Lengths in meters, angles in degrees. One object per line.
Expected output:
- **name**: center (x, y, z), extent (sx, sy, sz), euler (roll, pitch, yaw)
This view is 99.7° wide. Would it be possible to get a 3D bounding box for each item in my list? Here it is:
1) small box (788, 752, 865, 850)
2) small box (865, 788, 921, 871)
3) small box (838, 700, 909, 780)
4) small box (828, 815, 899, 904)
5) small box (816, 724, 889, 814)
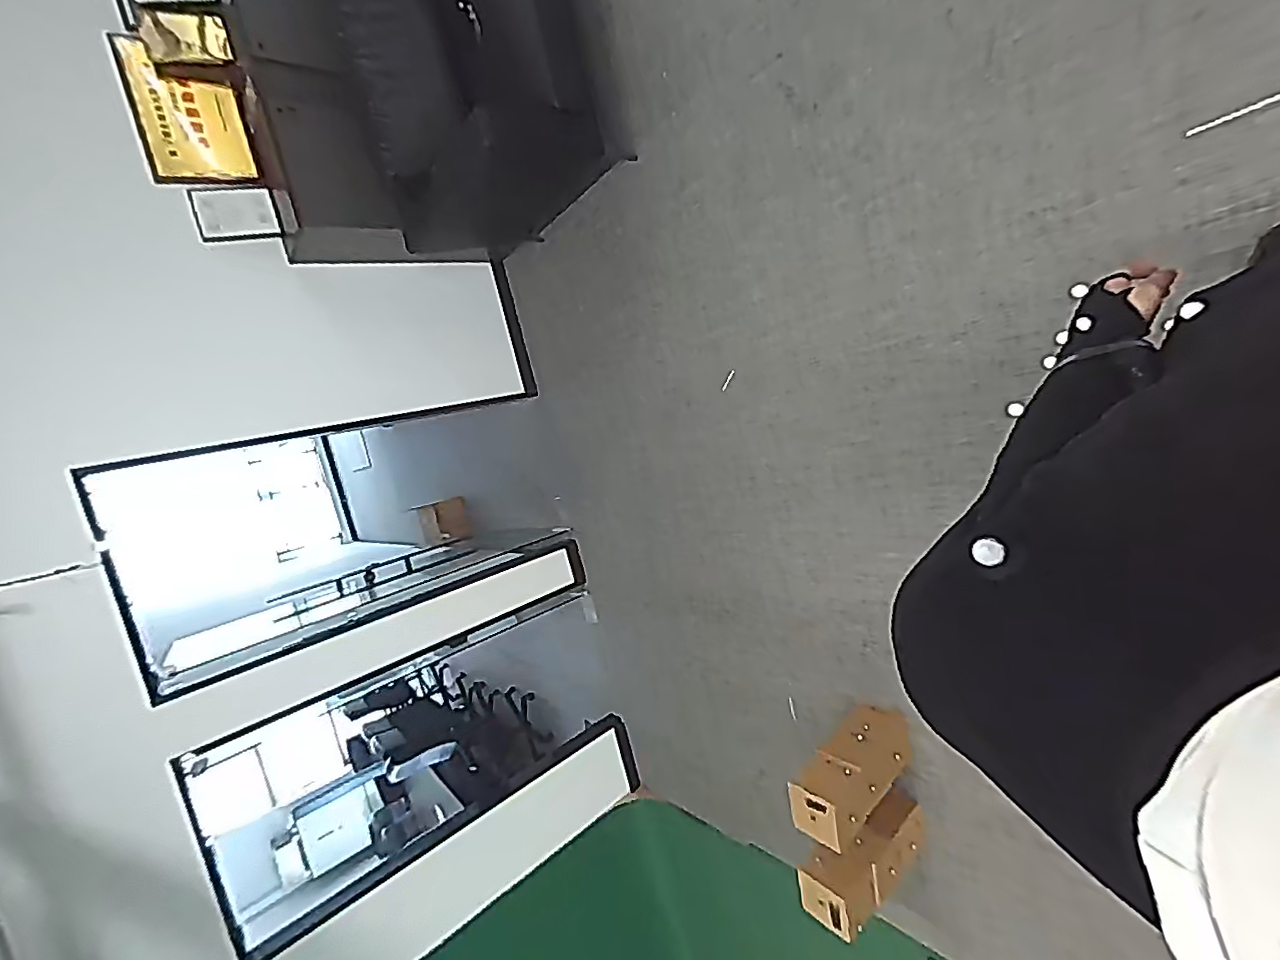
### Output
- **small box**: center (0.596, 1.009, 1.719), extent (0.168, 0.176, 0.179), euler (4, 108, 51)
- **small box**: center (0.904, 1.259, 1.971), extent (0.179, 0.176, 0.168), euler (1, 105, 52)
- **small box**: center (0.836, 0.924, 1.925), extent (0.168, 0.176, 0.179), euler (-2, 102, 51)
- **small box**: center (0.777, 1.293, 1.870), extent (0.179, 0.176, 0.168), euler (3, 105, 51)
- **small box**: center (0.718, 0.962, 1.817), extent (0.168, 0.176, 0.179), euler (1, 104, 51)
